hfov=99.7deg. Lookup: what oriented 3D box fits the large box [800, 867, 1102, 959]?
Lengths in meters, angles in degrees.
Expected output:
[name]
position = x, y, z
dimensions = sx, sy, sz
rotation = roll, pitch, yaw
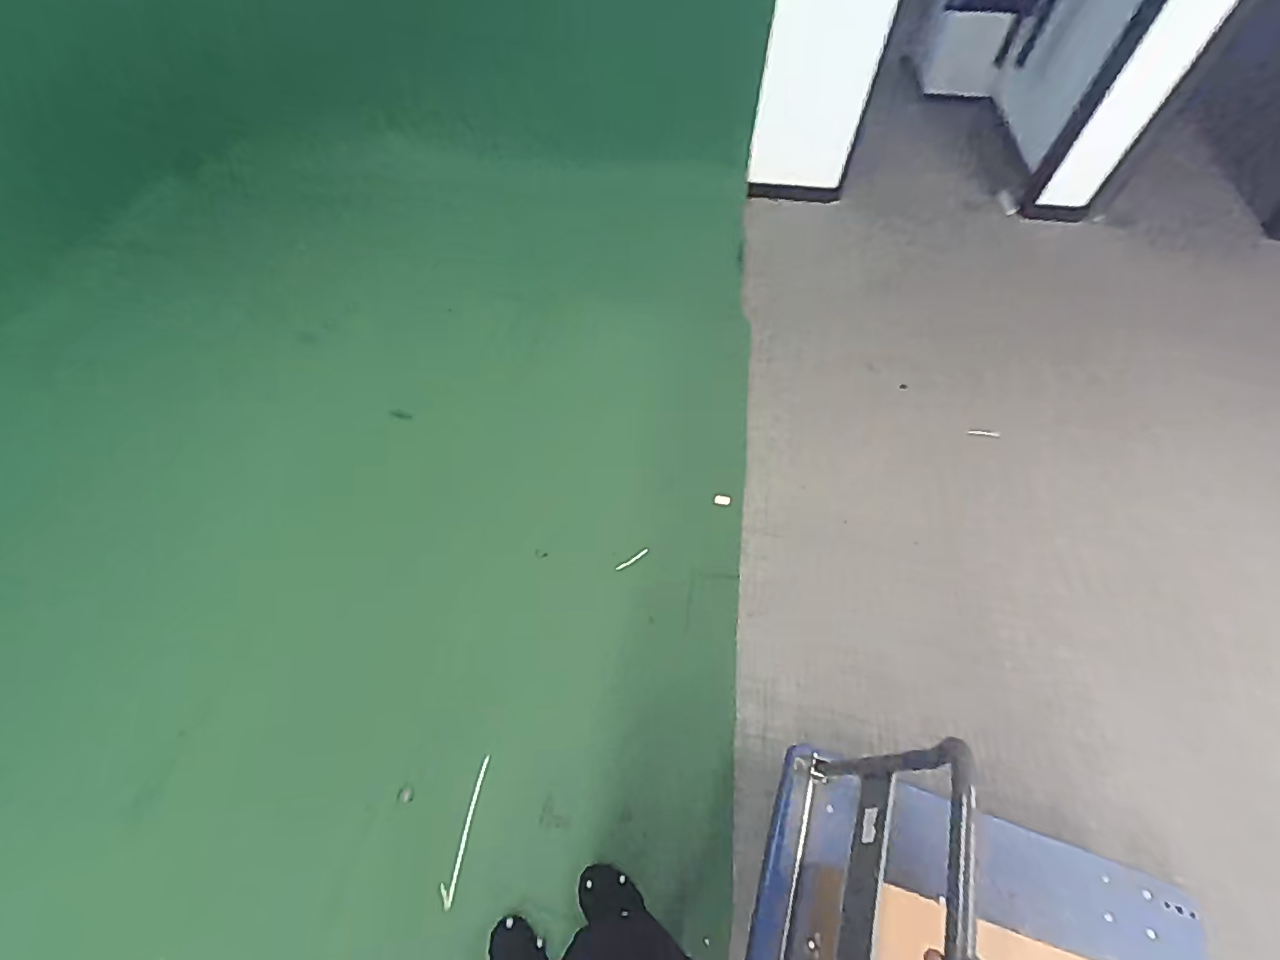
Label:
[large box]
position = 0.510, 0.918, 0.930
dimensions = 0.408, 0.320, 0.320
rotation = 16, 60, 8
